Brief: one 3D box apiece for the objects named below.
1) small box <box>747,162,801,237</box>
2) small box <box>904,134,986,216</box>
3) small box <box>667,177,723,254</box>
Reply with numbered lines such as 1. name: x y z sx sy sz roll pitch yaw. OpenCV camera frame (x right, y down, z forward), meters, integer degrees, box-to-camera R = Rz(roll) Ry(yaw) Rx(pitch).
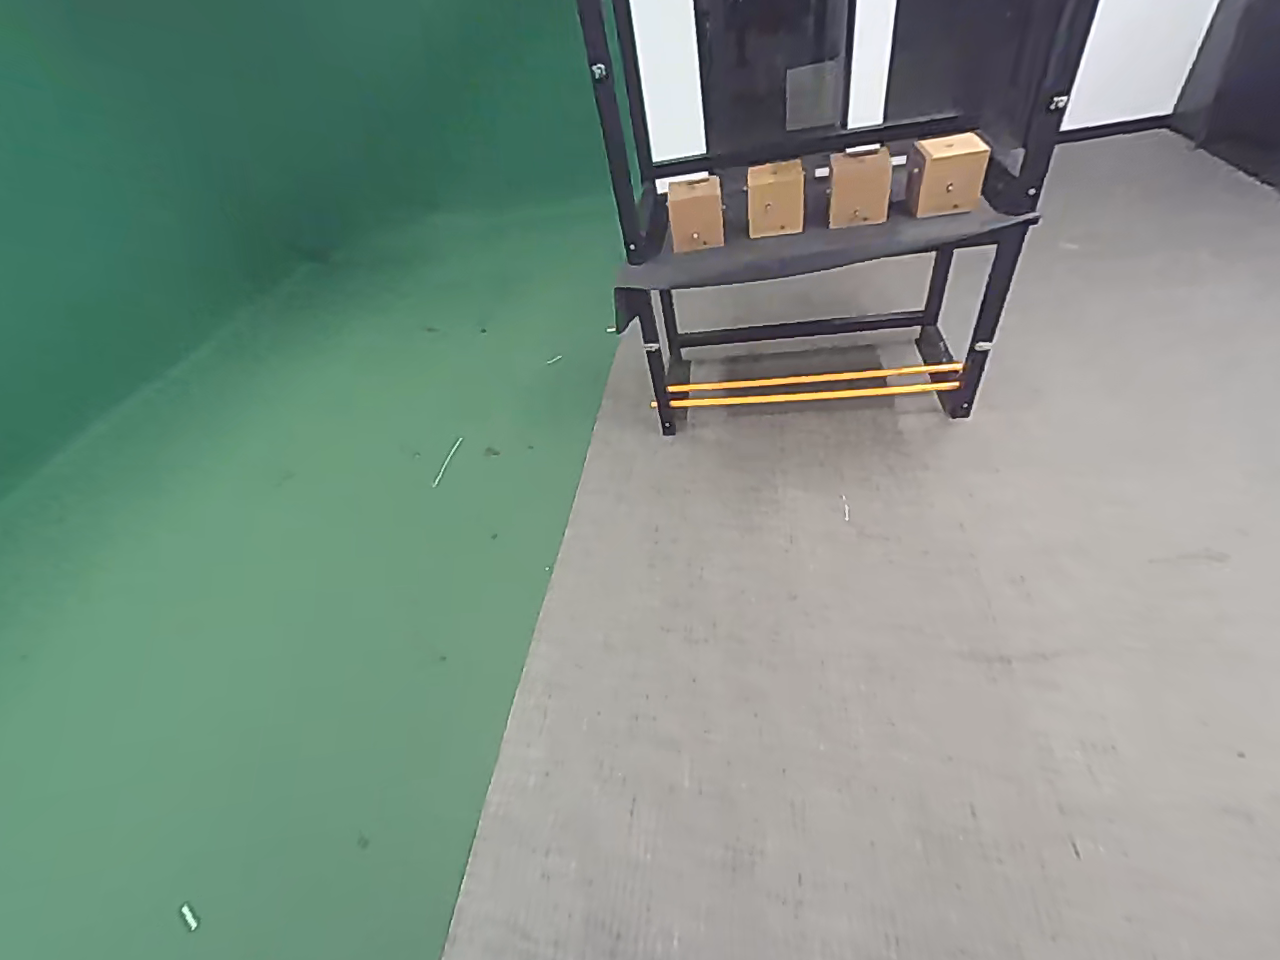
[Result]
1. small box: 0.433 -0.902 1.751 0.168 0.176 0.179 -2 45 12
2. small box: 0.912 -0.913 1.632 0.168 0.176 0.179 -3 44 12
3. small box: 0.183 -0.867 1.779 0.168 0.176 0.179 -5 45 10
